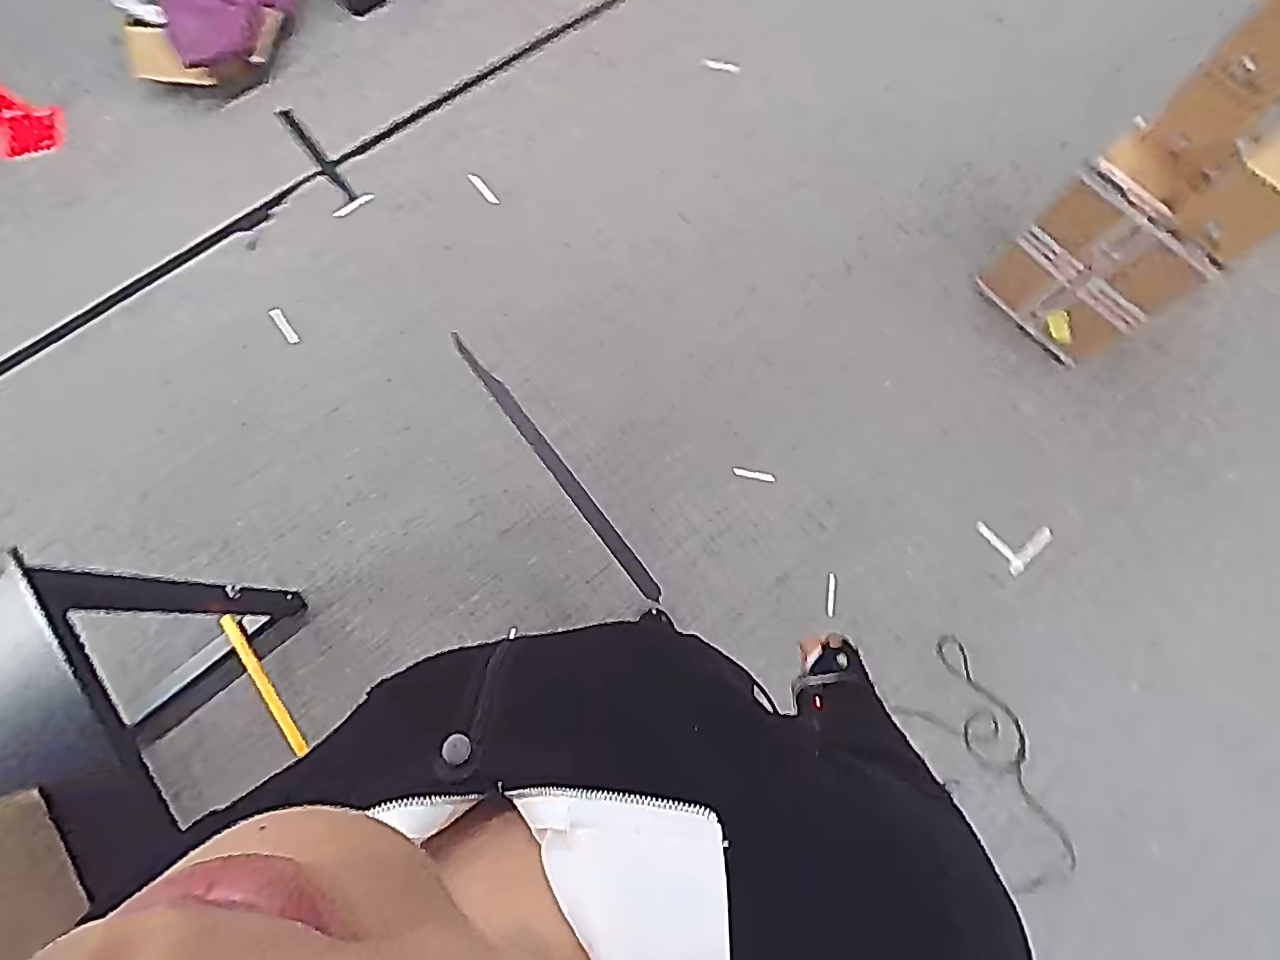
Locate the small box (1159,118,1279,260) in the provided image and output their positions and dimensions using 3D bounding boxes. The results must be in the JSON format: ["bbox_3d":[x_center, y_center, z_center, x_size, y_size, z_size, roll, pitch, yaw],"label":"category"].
[{"bbox_3d":[1.312,-0.625,1.177,0.179,0.176,0.168,-38,78,-7],"label":"small box"}]
